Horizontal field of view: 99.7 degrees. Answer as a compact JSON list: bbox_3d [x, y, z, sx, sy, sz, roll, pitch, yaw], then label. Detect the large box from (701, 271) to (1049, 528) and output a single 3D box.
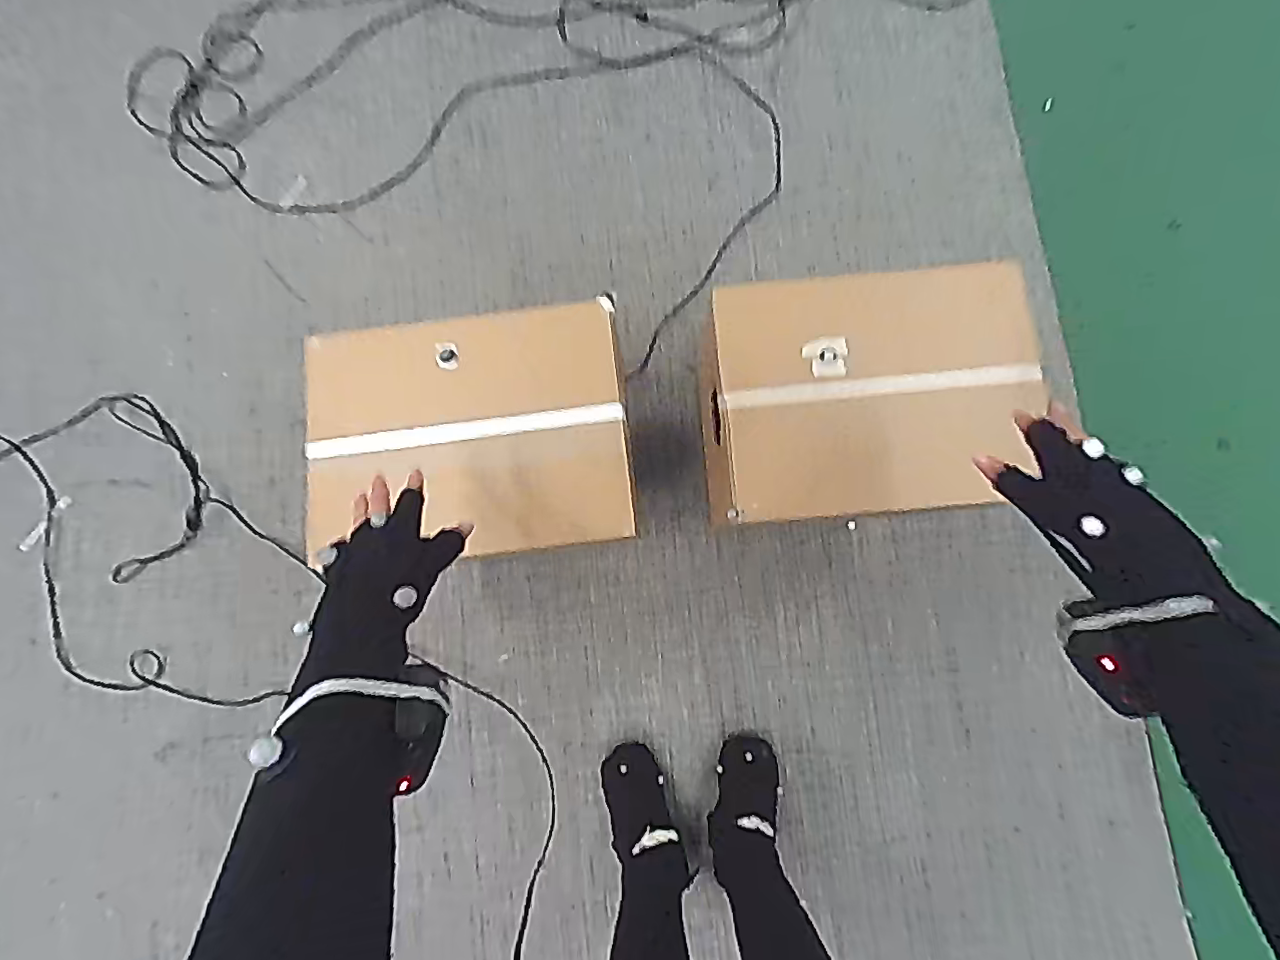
[{"bbox_3d":[0.319,-0.094,0.855,0.408,0.320,0.320,-4,83,1],"label":"large box"}]
